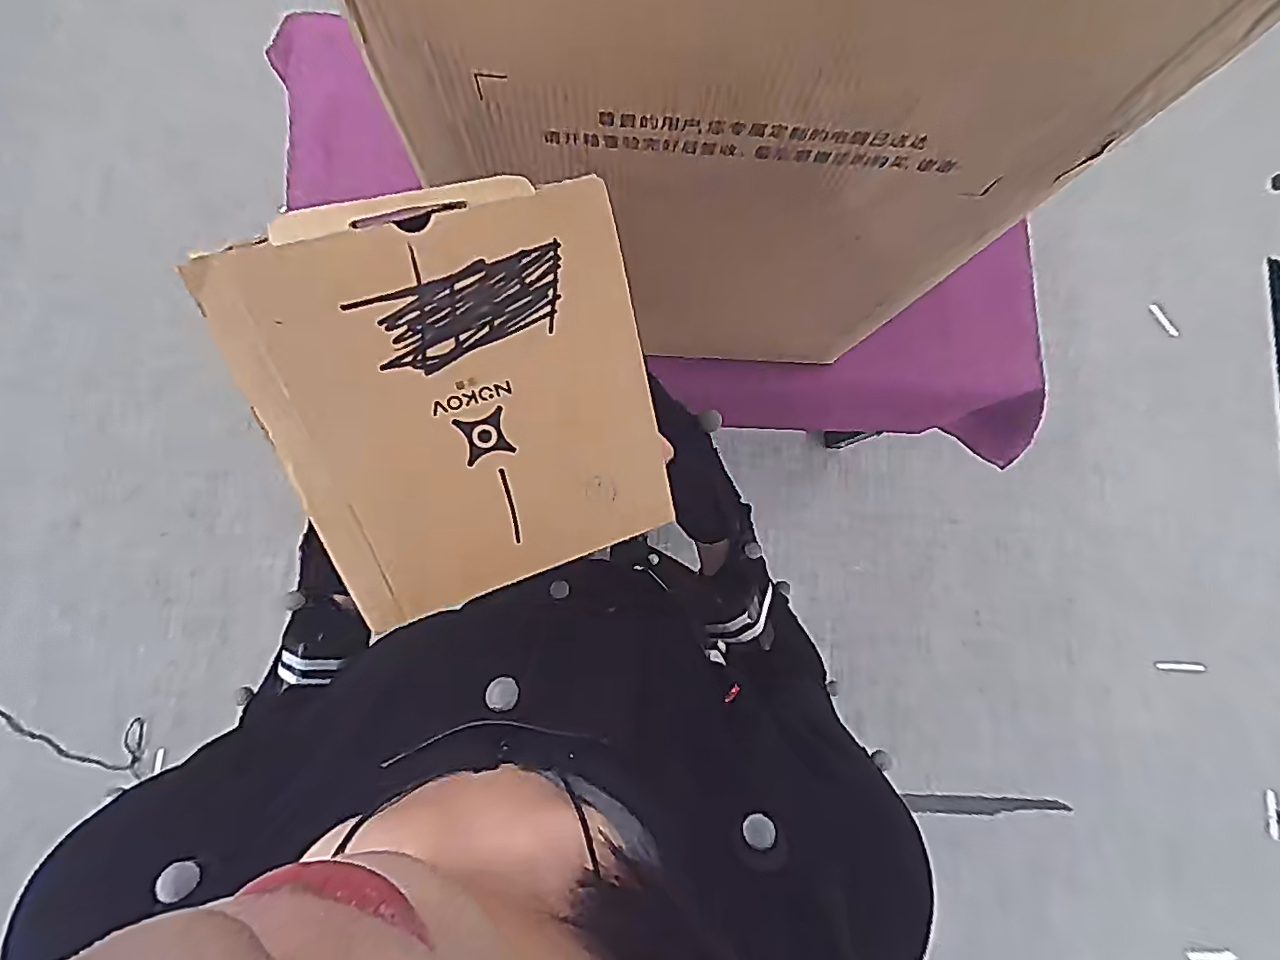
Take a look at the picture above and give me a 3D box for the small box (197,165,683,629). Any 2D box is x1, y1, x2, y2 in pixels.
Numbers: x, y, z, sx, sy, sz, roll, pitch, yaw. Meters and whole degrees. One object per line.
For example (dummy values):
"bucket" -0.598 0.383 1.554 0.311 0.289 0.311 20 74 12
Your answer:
"small box" -0.097 -0.054 0.313 0.168 0.176 0.179 -20 112 -16
